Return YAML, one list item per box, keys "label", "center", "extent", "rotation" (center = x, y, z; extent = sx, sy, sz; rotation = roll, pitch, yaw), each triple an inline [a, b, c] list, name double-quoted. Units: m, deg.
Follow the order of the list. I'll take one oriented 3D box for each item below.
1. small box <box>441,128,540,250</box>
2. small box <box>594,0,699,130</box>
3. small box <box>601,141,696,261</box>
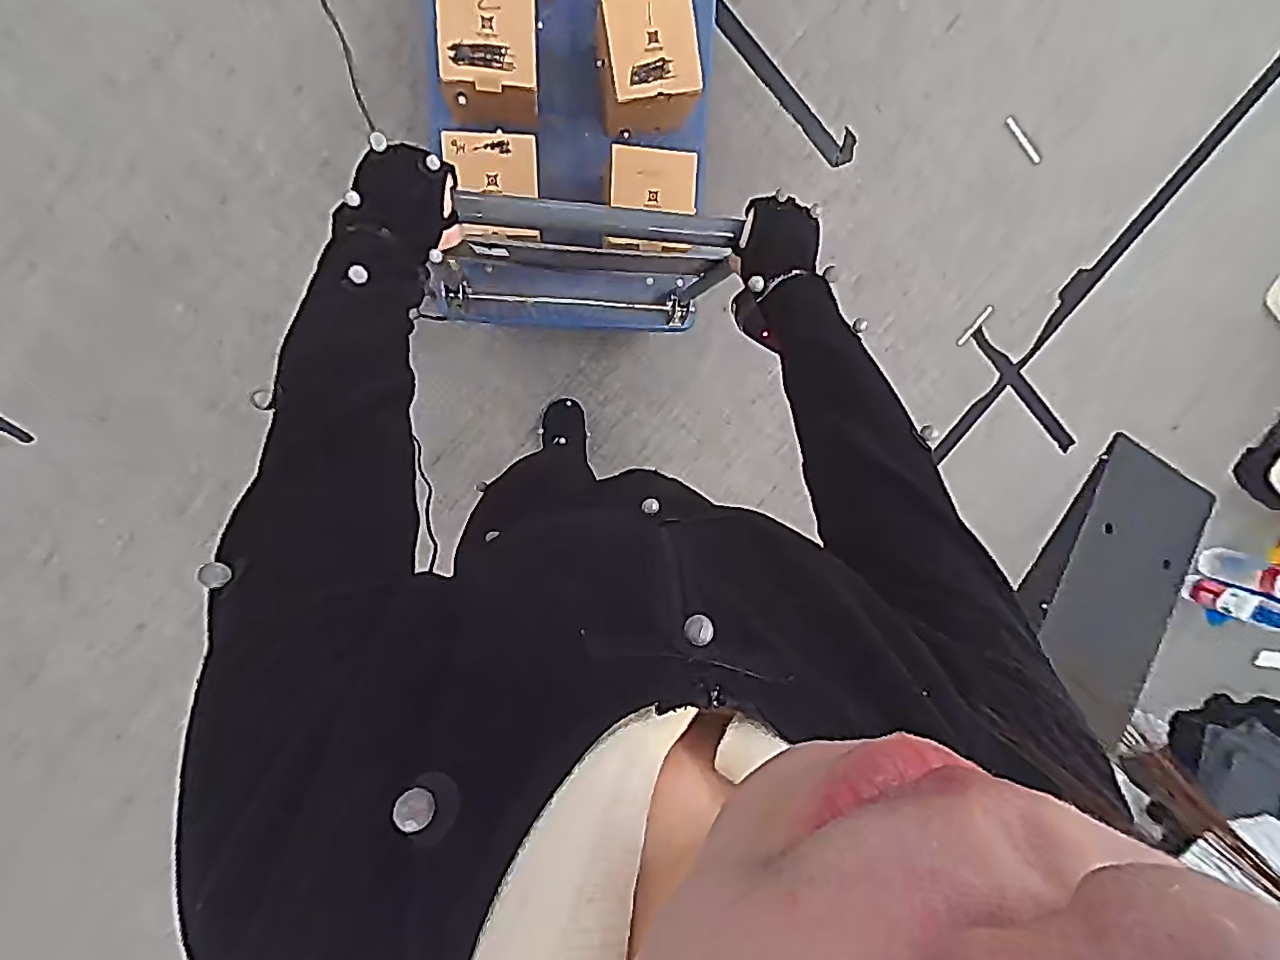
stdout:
- label: "small box"
  center: [-0.284, -0.556, 1.059]
  extent: [0.168, 0.176, 0.179]
  rotation: [-3, 103, -10]
- label: "small box"
  center: [0.008, -0.811, 1.054]
  extent: [0.168, 0.176, 0.179]
  rotation: [-11, 103, -7]
- label: "small box"
  center: [0.010, -0.559, 1.109]
  extent: [0.168, 0.176, 0.179]
  rotation: [1, 101, -10]
